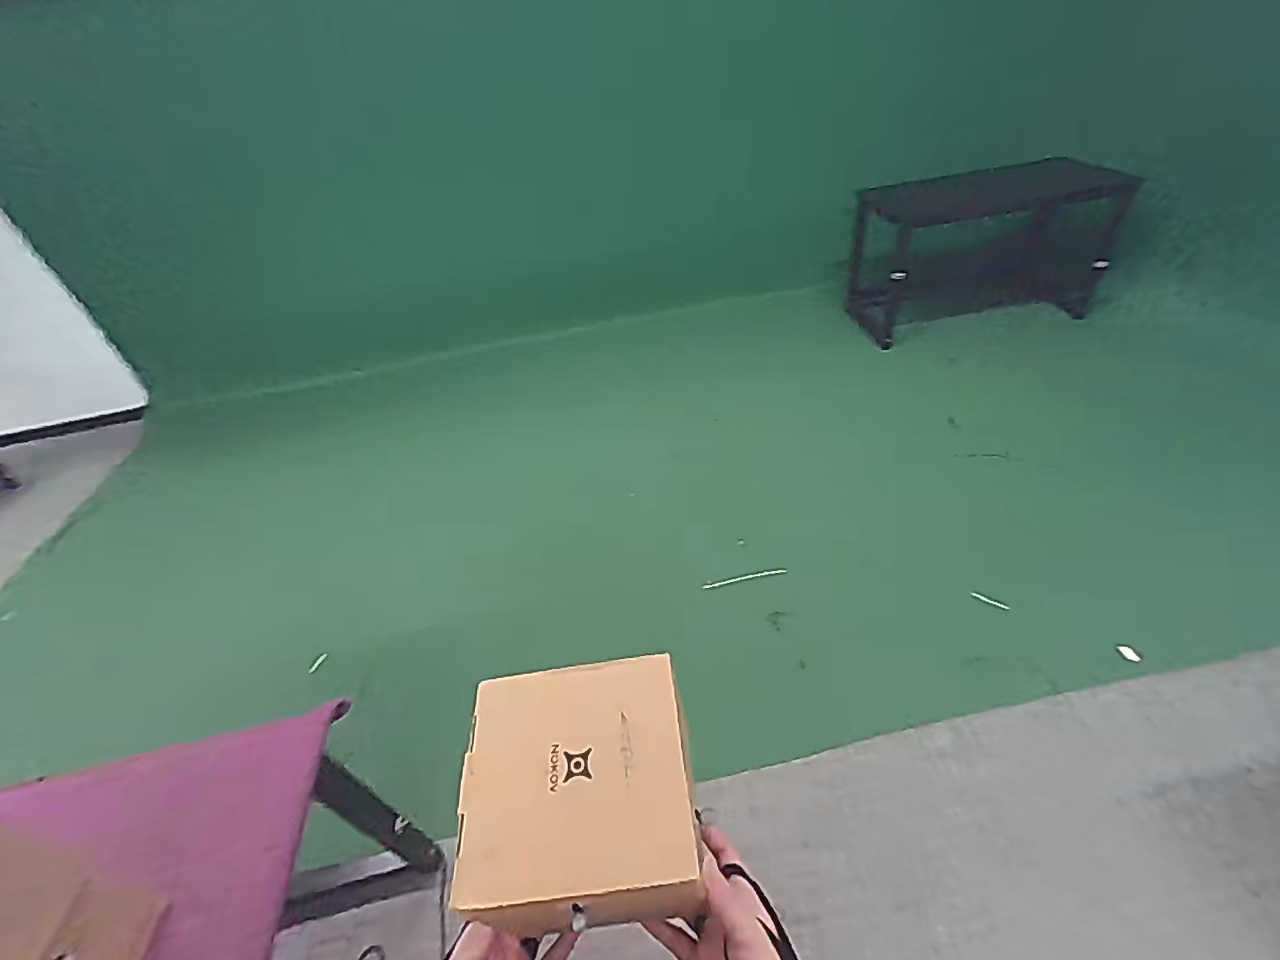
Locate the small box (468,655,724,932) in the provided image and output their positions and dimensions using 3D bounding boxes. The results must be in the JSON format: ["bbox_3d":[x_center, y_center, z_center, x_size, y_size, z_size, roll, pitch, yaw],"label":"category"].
[{"bbox_3d":[-0.026,0.278,0.476,0.179,0.176,0.168,-8,45,2],"label":"small box"}]
